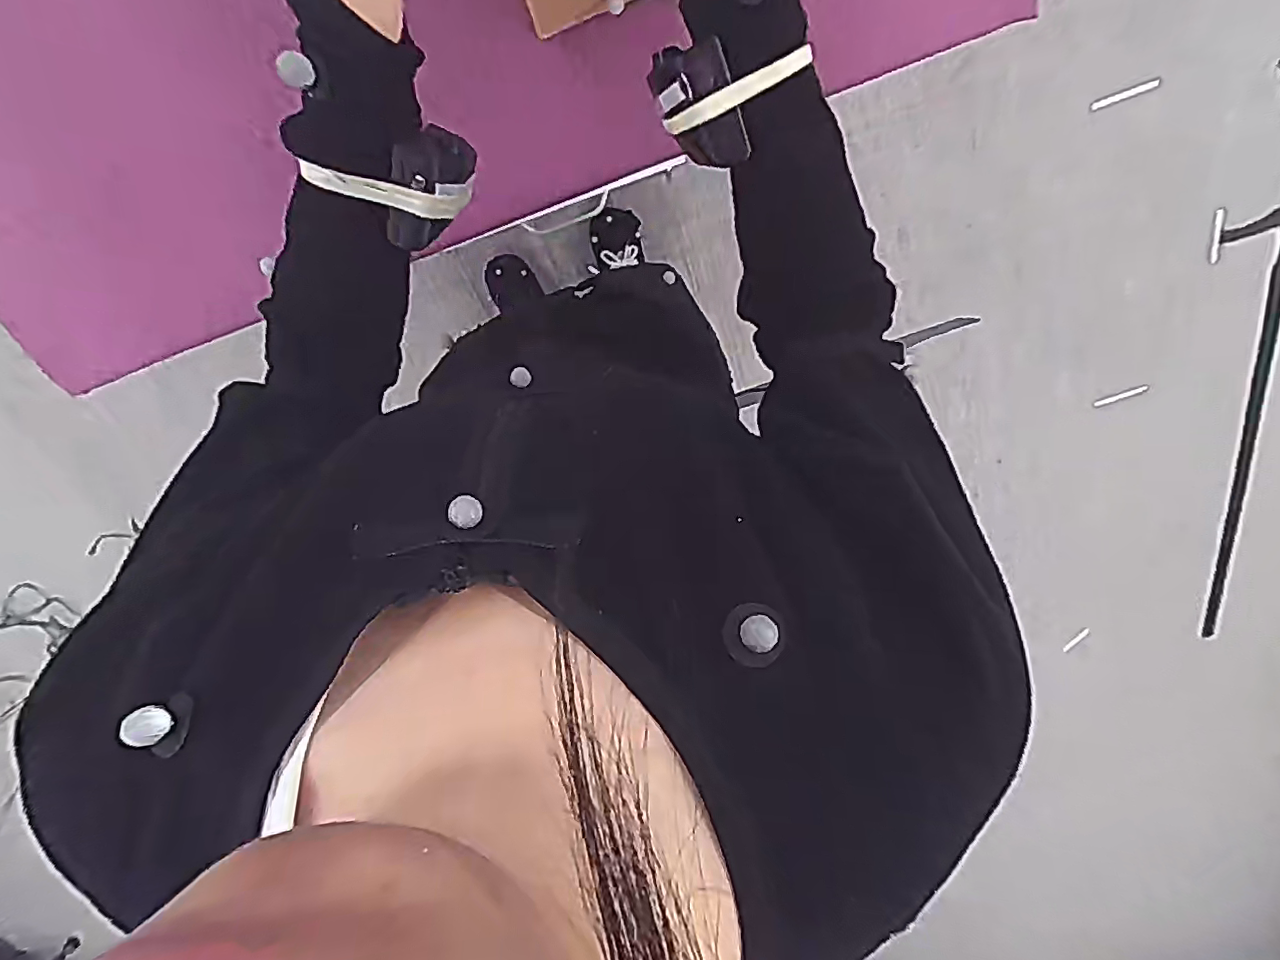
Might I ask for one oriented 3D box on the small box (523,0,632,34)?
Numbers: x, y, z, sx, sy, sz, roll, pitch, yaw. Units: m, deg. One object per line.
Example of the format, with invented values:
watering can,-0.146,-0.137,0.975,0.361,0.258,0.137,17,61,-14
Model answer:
small box,-0.052,-0.515,0.438,0.168,0.176,0.179,-19,117,5
